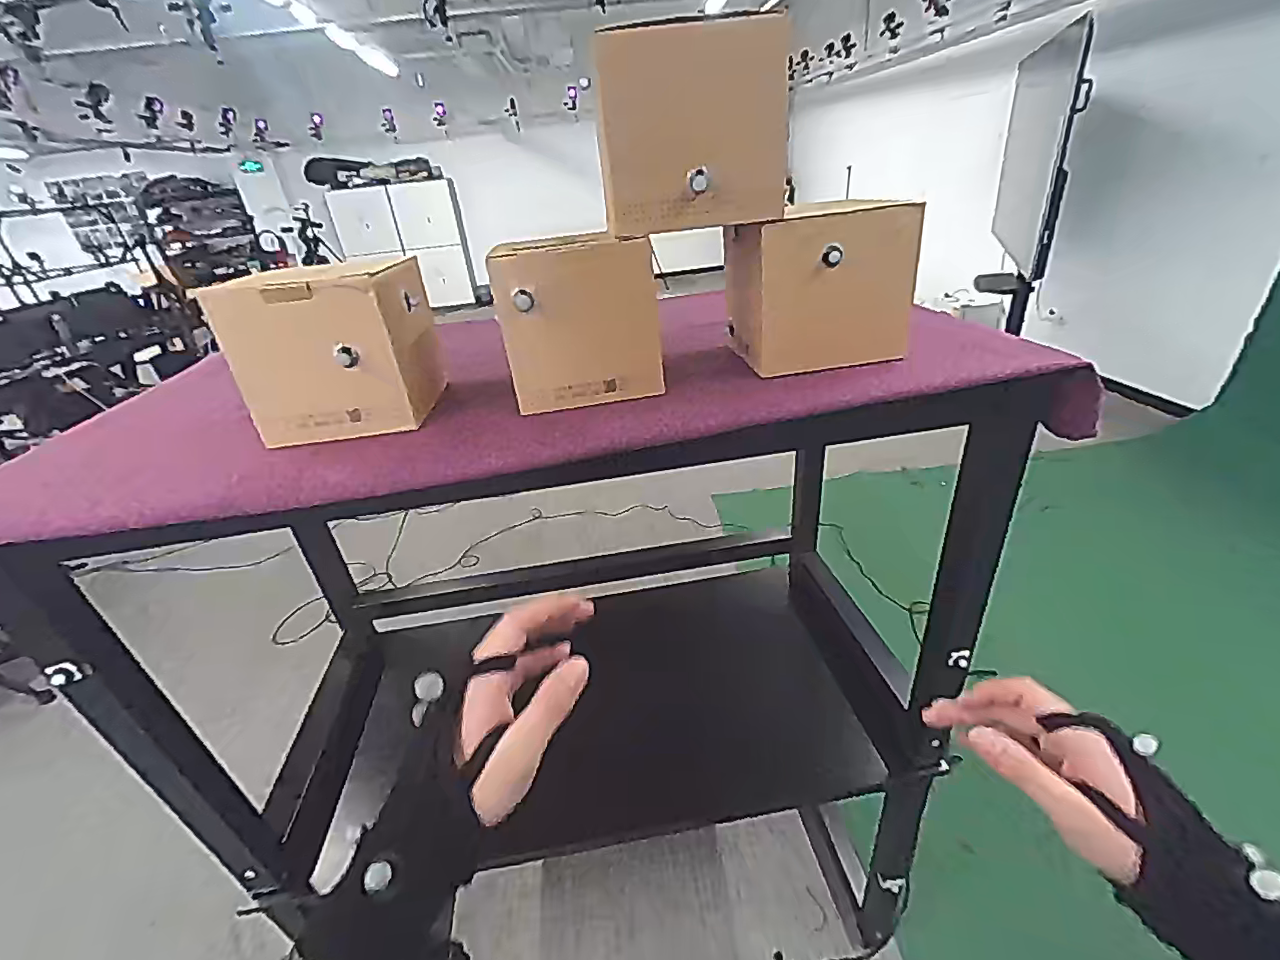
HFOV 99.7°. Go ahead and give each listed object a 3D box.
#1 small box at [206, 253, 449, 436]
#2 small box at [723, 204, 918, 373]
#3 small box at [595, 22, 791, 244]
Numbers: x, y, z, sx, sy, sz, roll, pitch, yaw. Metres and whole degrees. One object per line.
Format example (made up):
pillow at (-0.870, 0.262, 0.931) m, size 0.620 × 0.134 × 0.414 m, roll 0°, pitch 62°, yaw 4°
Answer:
small box at (-0.336, -0.157, 0.630) m, size 0.168 × 0.176 × 0.179 m, roll -7°, pitch 29°, yaw -3°
small box at (0.209, -0.239, 0.669) m, size 0.179 × 0.176 × 0.168 m, roll -8°, pitch 29°, yaw -4°
small box at (0.047, -0.359, 0.580) m, size 0.179 × 0.176 × 0.168 m, roll -7°, pitch 28°, yaw -2°
